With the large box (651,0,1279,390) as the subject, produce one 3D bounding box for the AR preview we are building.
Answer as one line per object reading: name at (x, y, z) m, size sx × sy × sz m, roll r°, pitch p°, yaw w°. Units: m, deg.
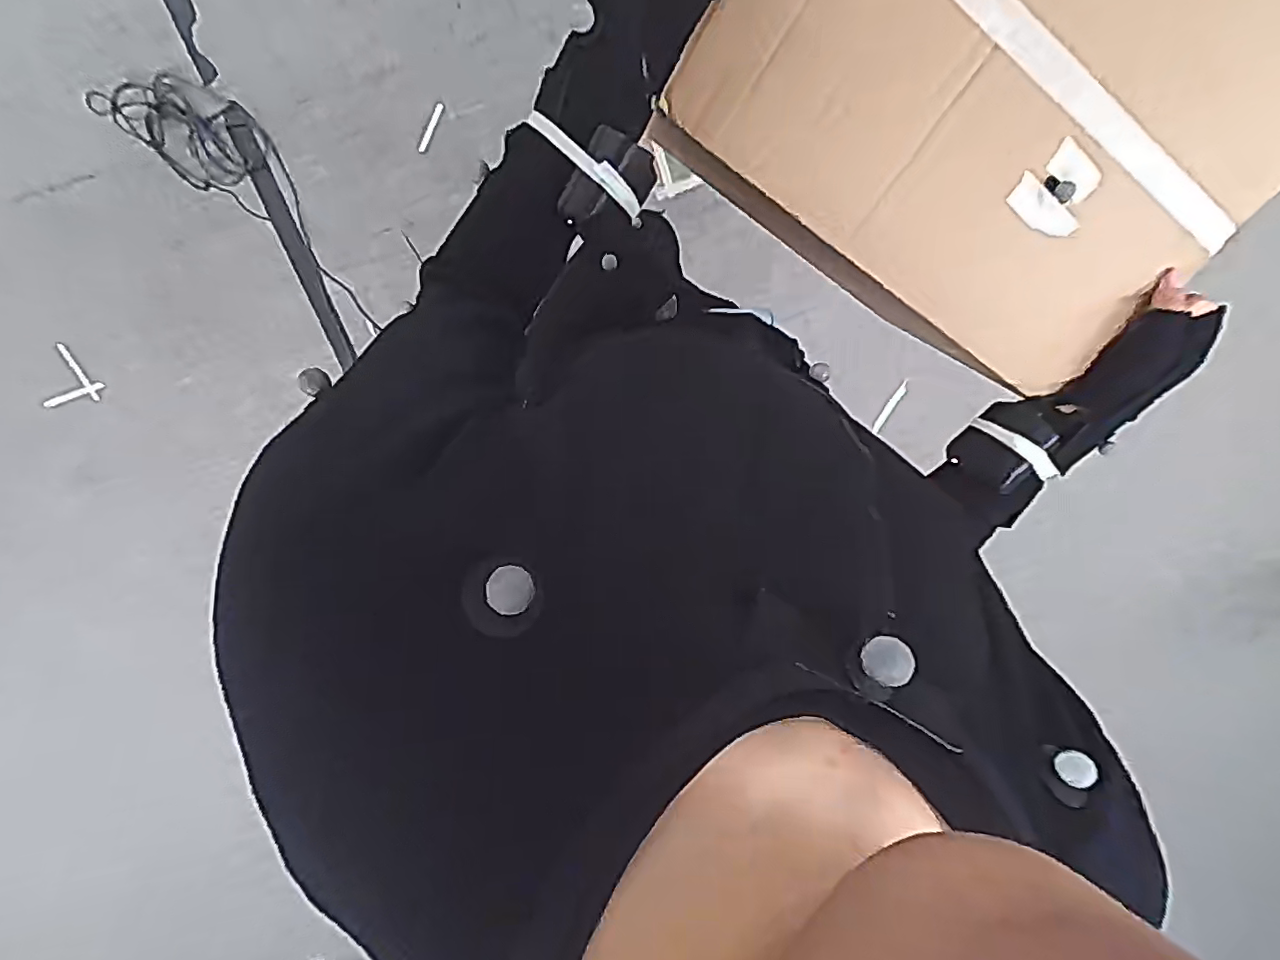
large box at (0.259, -0.352, 0.495) m, size 0.408 × 0.320 × 0.320 m, roll 29°, pitch 116°, yaw -16°
